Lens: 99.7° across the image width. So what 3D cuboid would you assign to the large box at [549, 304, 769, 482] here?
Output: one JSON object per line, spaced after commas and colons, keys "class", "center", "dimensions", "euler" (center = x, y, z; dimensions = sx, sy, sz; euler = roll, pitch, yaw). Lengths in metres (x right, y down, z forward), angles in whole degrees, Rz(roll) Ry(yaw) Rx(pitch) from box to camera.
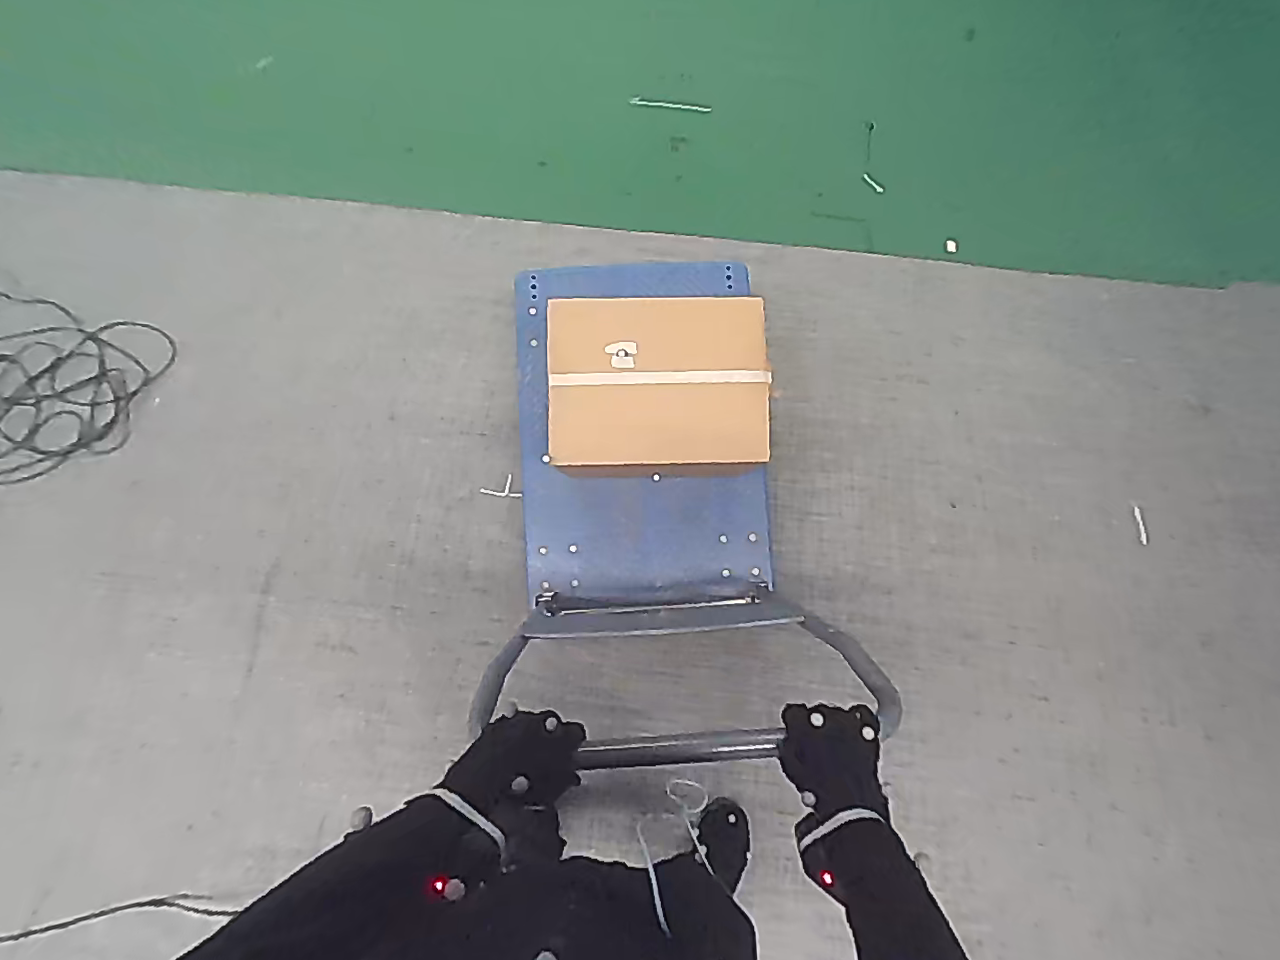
{"class": "large box", "center": [0.035, -0.160, 1.144], "dimensions": [0.408, 0.320, 0.320], "euler": [-1, 85, 0]}
